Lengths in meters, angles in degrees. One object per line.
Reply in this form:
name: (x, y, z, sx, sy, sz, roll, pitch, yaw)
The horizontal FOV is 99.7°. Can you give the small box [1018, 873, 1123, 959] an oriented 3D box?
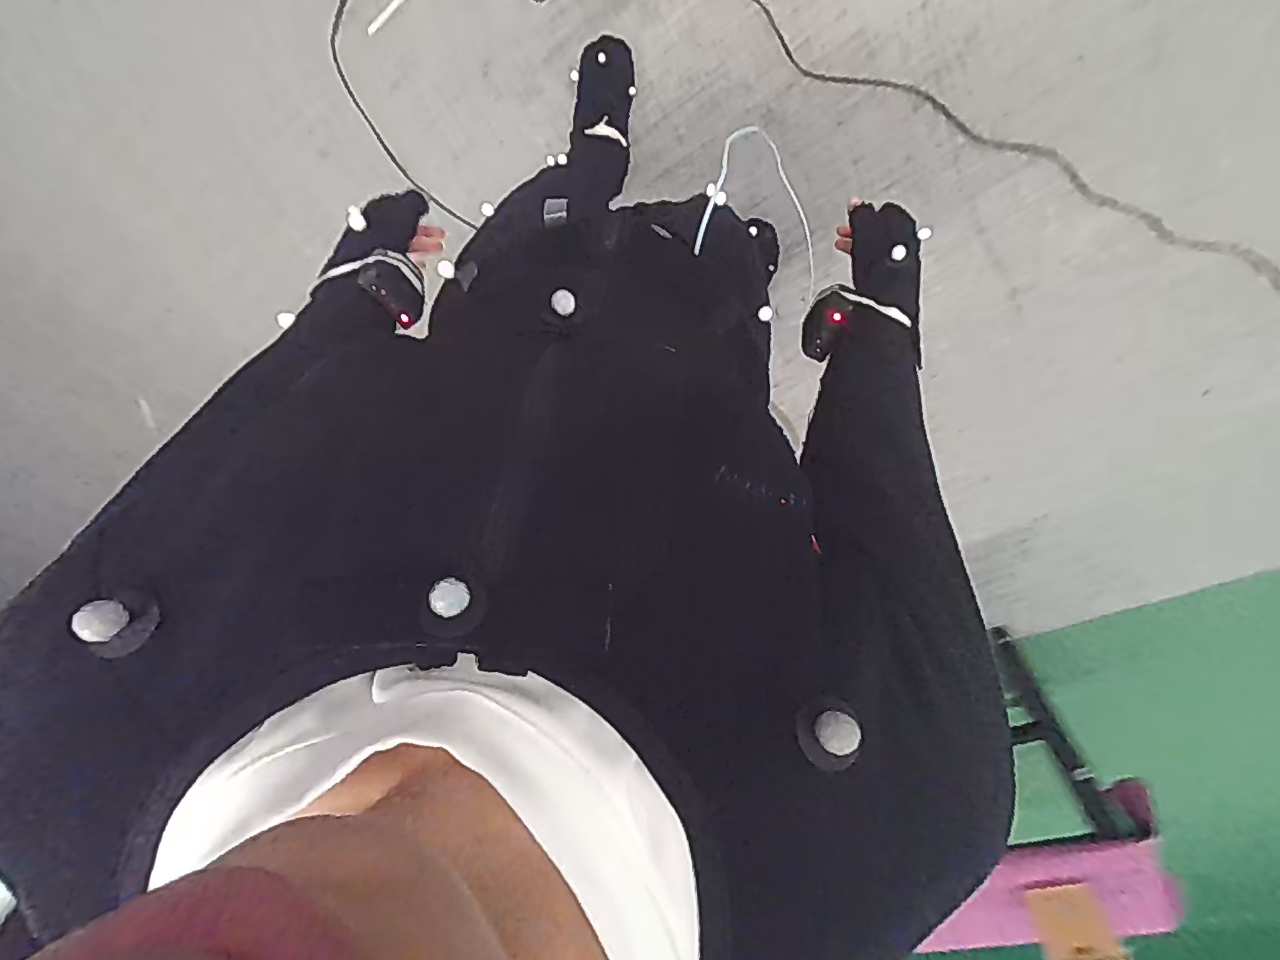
small box: (1.193, 1.221, 1.501, 0.168, 0.176, 0.179, -27, 119, 24)
